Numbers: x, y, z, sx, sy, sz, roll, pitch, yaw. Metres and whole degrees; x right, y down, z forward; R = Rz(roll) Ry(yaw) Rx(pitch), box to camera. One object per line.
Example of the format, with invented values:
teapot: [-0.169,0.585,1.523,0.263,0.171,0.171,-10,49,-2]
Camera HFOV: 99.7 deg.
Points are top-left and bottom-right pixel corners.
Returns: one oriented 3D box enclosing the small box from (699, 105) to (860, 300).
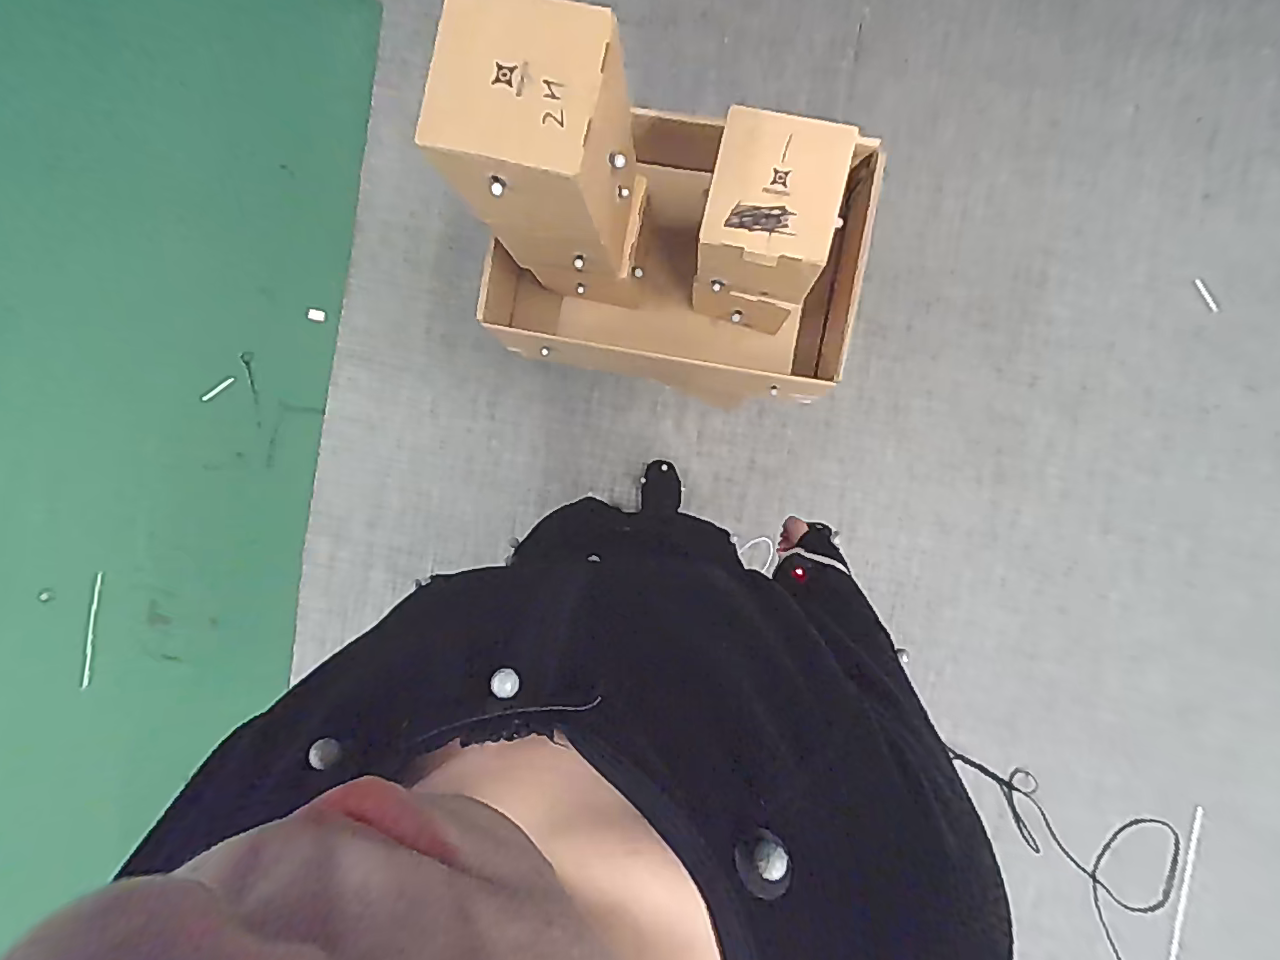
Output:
small box: [0.184,-0.373,0.758,0.168,0.176,0.179,14,92,5]

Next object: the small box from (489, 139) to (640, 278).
small box: [-0.098,-0.416,0.787,0.168,0.176,0.179,12,92,5]

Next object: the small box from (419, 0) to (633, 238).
small box: [-0.117,-0.405,0.624,0.179,0.176,0.168,15,93,4]
